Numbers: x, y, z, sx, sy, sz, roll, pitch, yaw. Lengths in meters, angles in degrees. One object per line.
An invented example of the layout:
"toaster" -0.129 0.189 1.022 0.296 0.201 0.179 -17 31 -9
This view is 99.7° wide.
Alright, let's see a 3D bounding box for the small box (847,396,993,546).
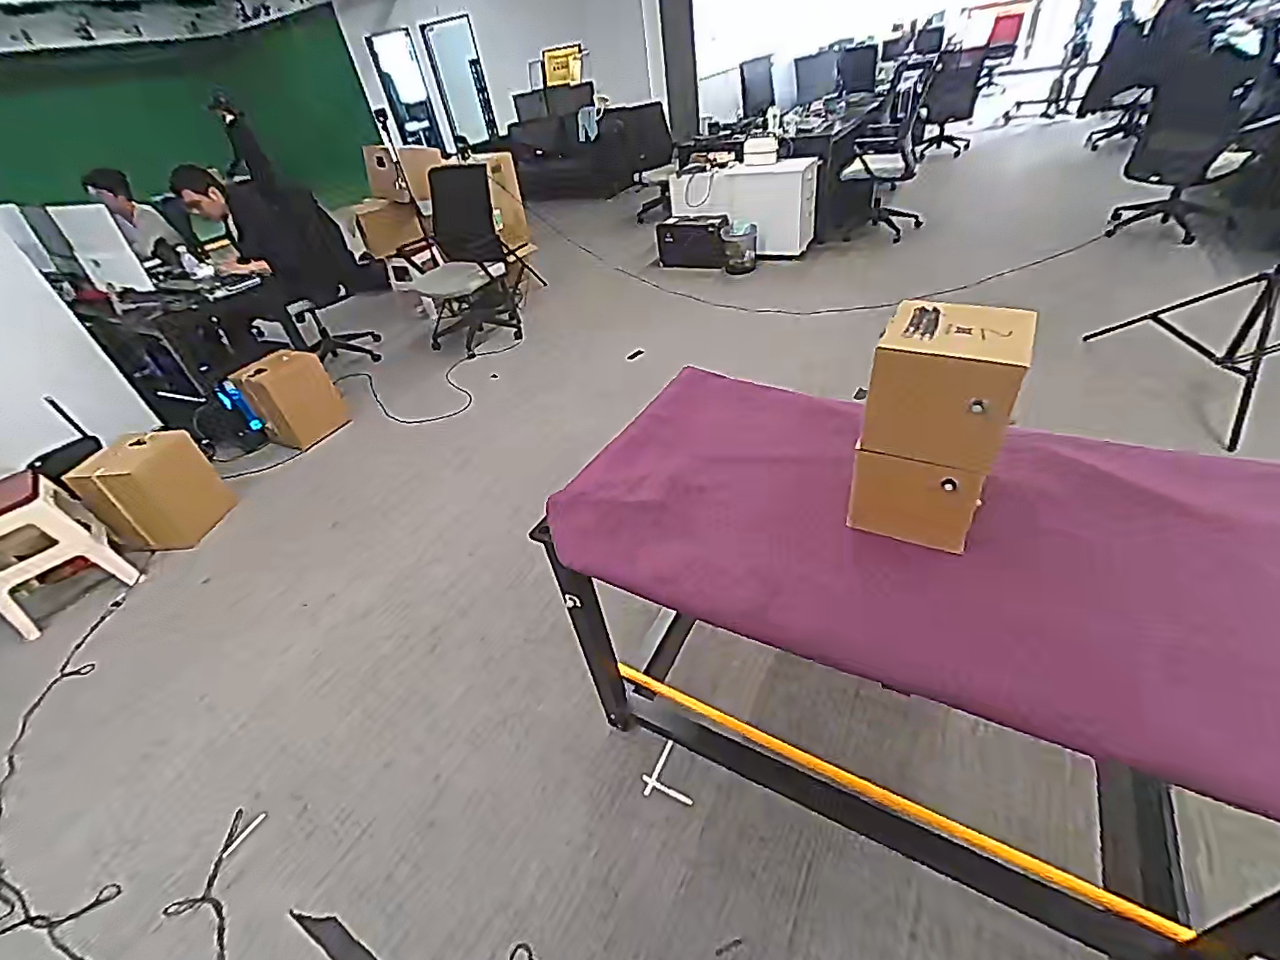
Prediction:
"small box" 0.450 -0.016 0.884 0.179 0.176 0.168 15 44 27
